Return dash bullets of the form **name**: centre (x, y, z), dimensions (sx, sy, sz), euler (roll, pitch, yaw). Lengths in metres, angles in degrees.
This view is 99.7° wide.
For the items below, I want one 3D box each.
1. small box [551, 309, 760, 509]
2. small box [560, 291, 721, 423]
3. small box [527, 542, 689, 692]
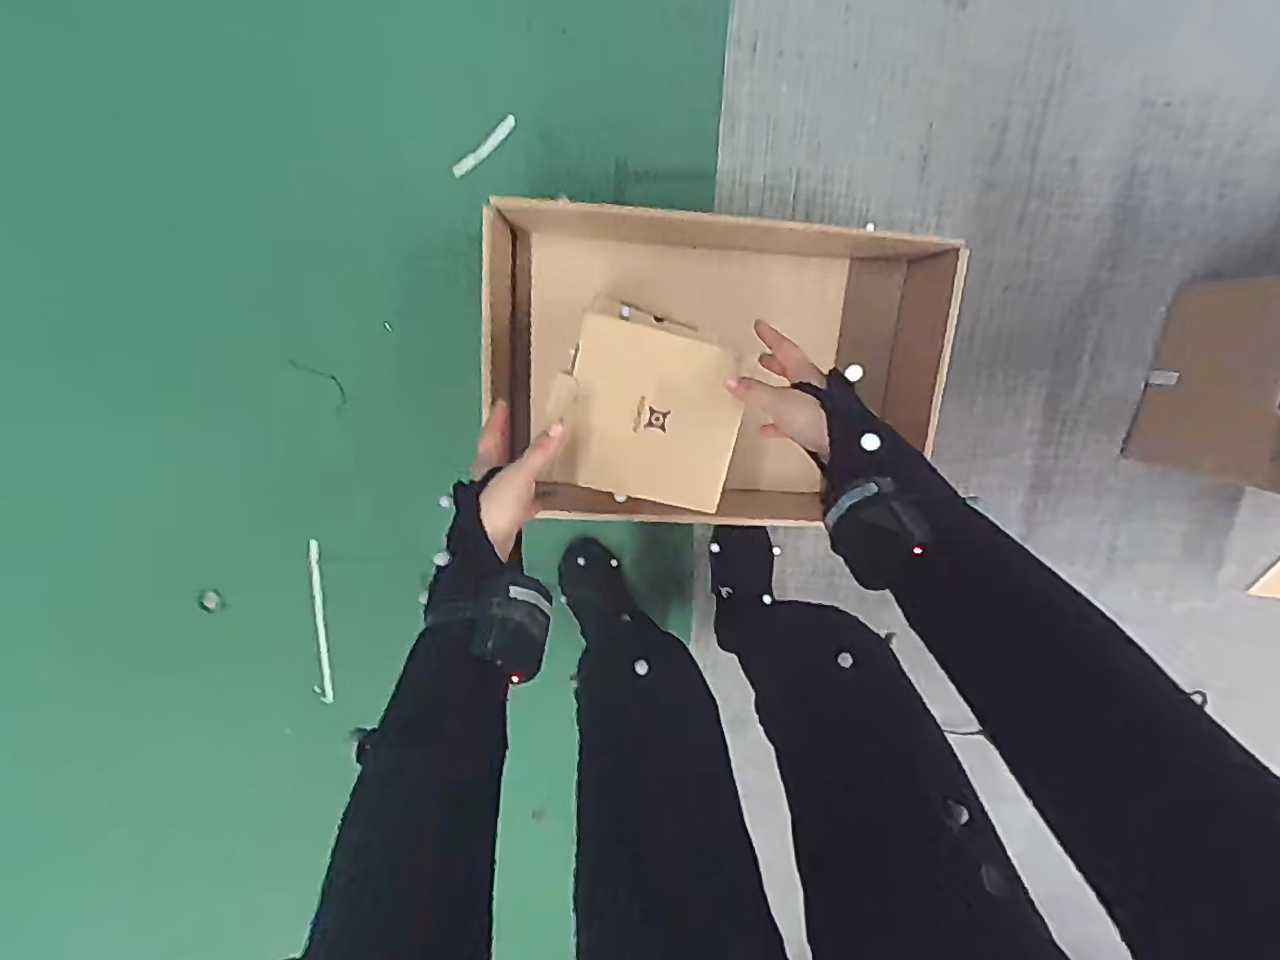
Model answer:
- **small box**: centre (0.007, -0.083, 0.604), dimensions (0.179, 0.176, 0.168), euler (13, 101, -8)
- **small box**: centre (-0.009, -0.144, 0.756), dimensions (0.168, 0.176, 0.179), euler (17, 102, -10)
- **small box**: centre (-0.045, 0.217, 0.871), dimensions (0.176, 0.168, 0.179), euler (32, 70, -34)
